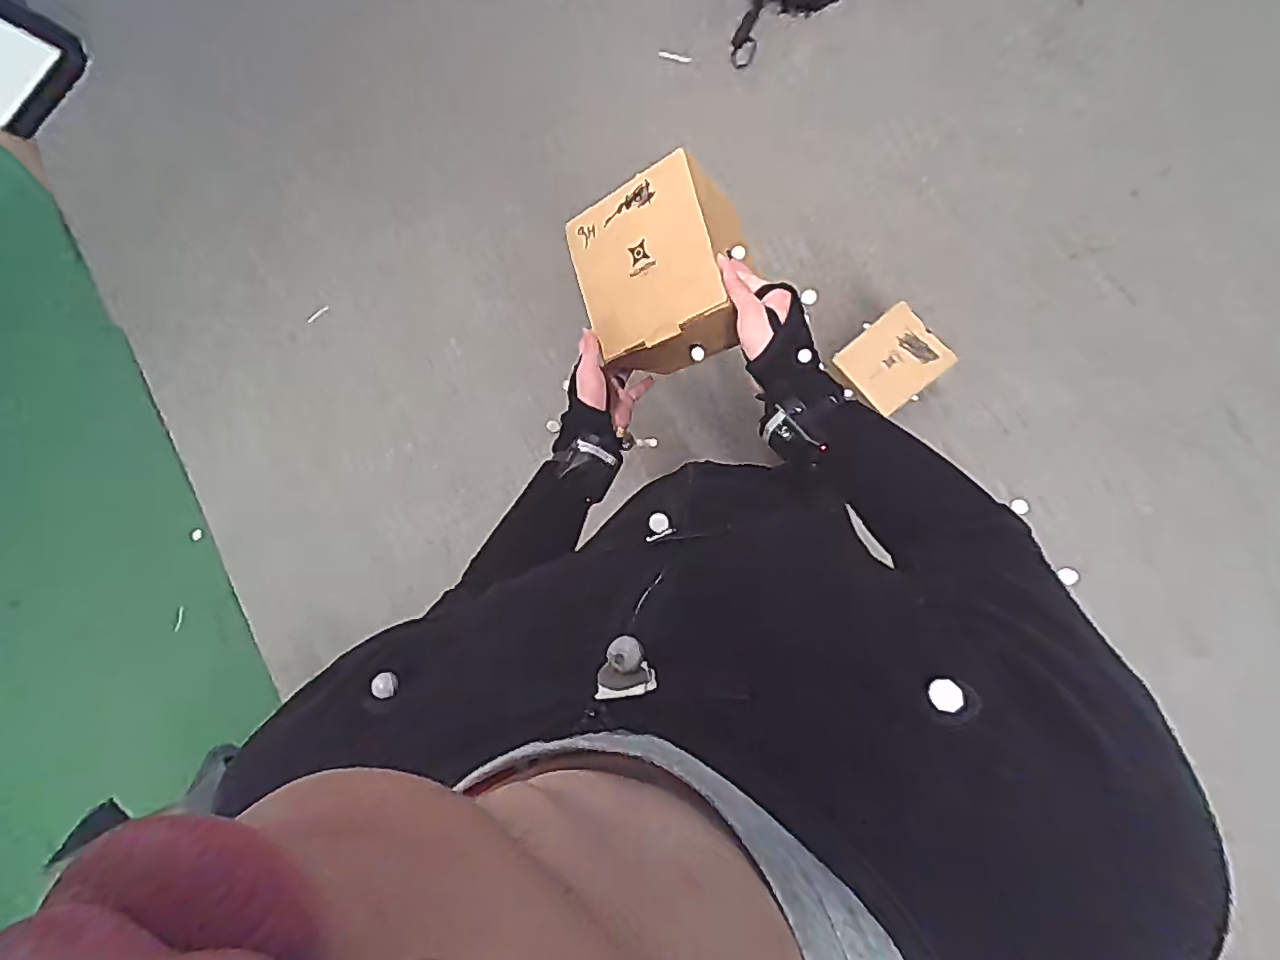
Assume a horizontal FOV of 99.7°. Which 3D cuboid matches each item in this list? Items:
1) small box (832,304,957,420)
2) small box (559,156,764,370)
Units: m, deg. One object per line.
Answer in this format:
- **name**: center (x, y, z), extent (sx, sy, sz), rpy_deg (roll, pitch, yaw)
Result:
- **small box**: center (0.536, -0.246, 1.169), extent (0.179, 0.176, 0.168), rpy_deg (-40, 83, 17)
- **small box**: center (0.035, -0.242, 0.661), extent (0.168, 0.176, 0.179), rpy_deg (-17, 88, 30)
